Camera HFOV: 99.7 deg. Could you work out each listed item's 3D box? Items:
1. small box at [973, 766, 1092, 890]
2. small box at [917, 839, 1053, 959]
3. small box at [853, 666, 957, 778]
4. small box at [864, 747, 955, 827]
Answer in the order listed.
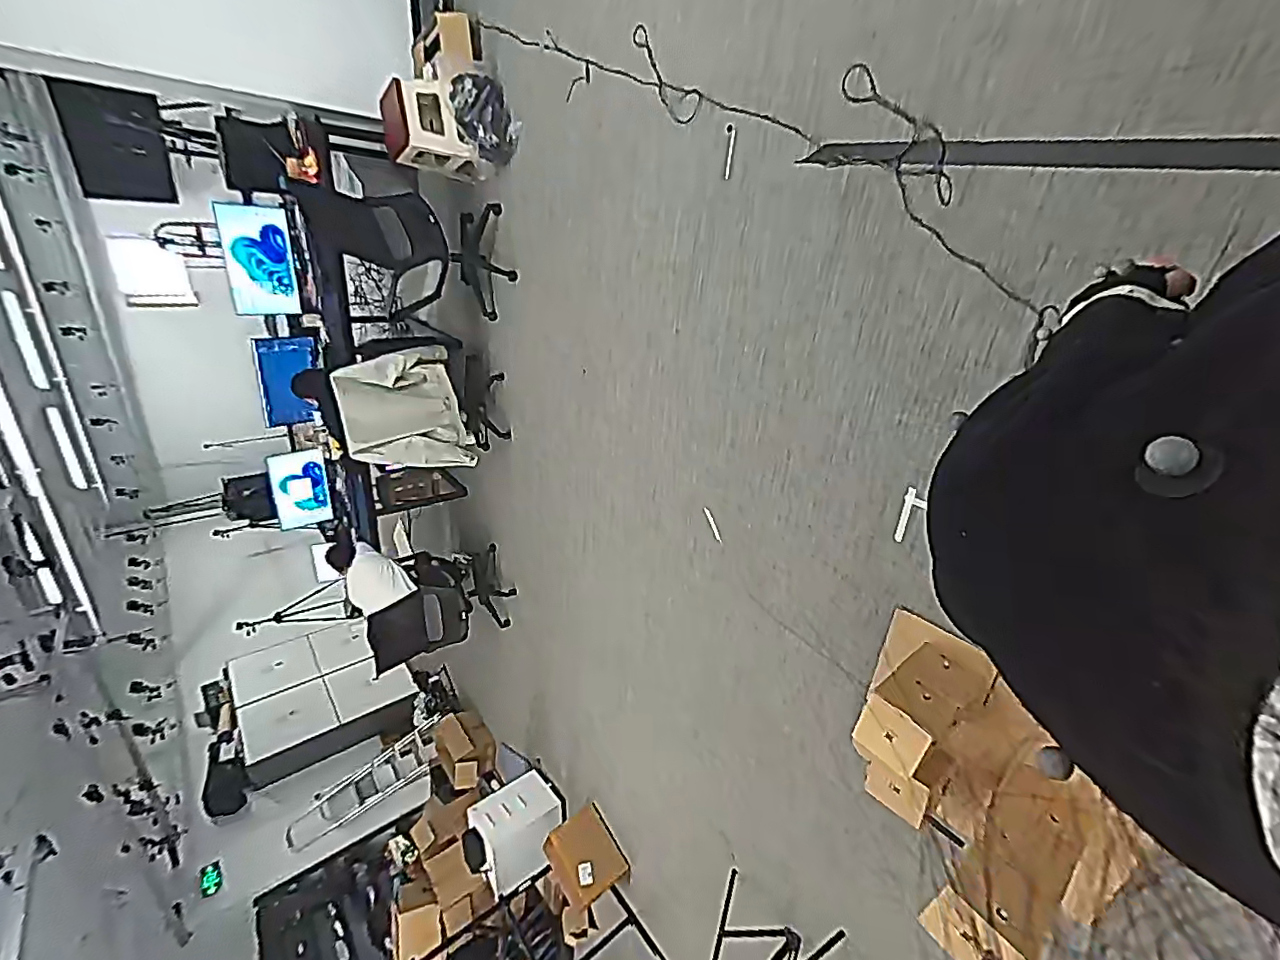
[{"bbox_3d":[1.012,0.886,1.392,0.179,0.176,0.168,38,129,36],"label":"small box"},{"bbox_3d":[0.760,0.951,1.191,0.179,0.176,0.168,37,129,39],"label":"small box"},{"bbox_3d":[0.702,0.632,1.429,0.168,0.176,0.179,34,126,40],"label":"small box"},{"bbox_3d":[0.817,0.889,1.642,0.179,0.176,0.168,26,122,44],"label":"small box"}]
